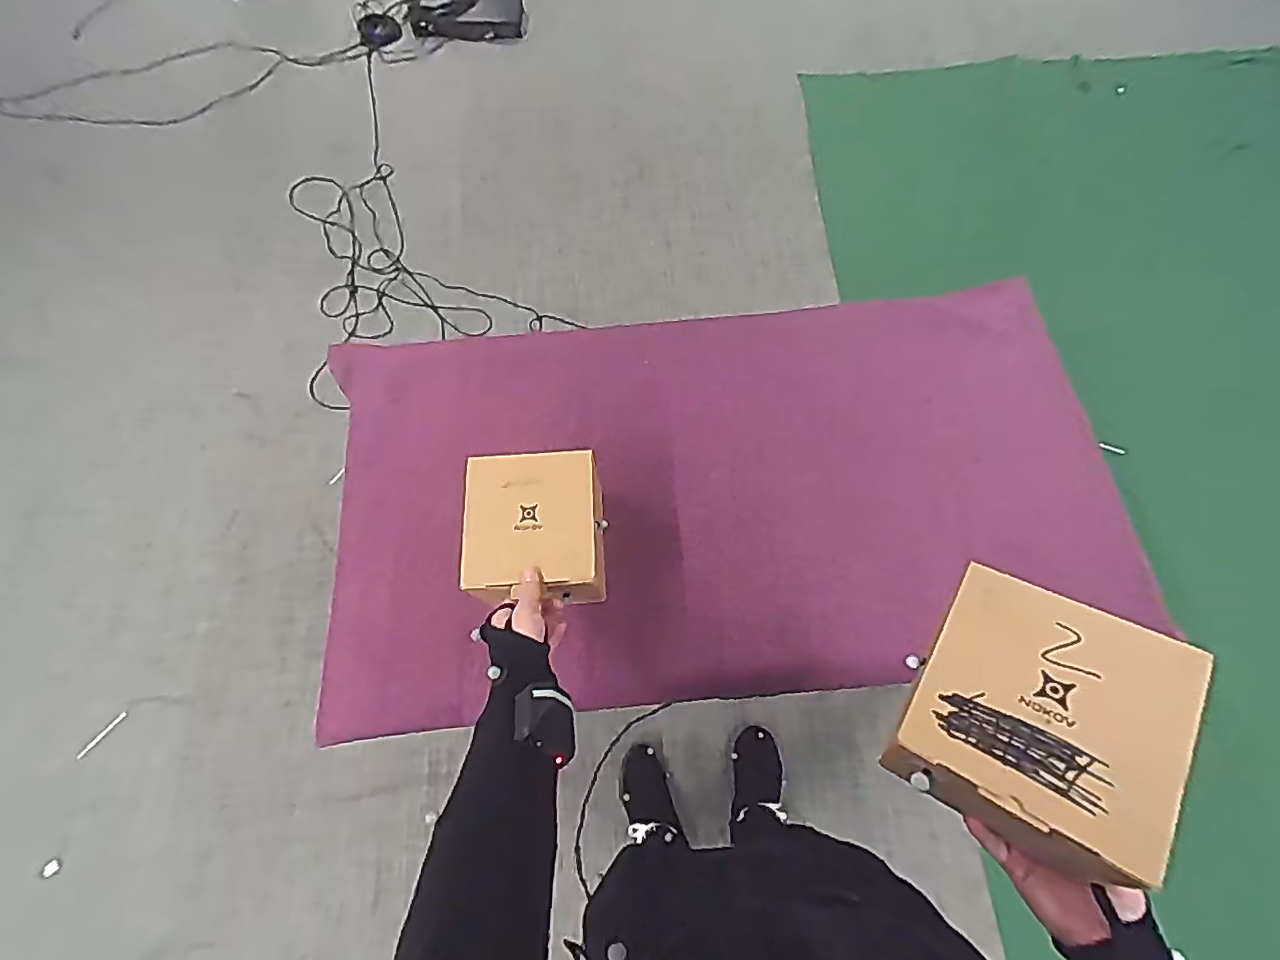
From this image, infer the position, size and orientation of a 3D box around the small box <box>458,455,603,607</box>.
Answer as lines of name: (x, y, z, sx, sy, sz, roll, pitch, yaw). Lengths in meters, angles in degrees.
small box: (-0.141, 0.080, 0.757, 0.168, 0.176, 0.179, -3, 68, 0)
